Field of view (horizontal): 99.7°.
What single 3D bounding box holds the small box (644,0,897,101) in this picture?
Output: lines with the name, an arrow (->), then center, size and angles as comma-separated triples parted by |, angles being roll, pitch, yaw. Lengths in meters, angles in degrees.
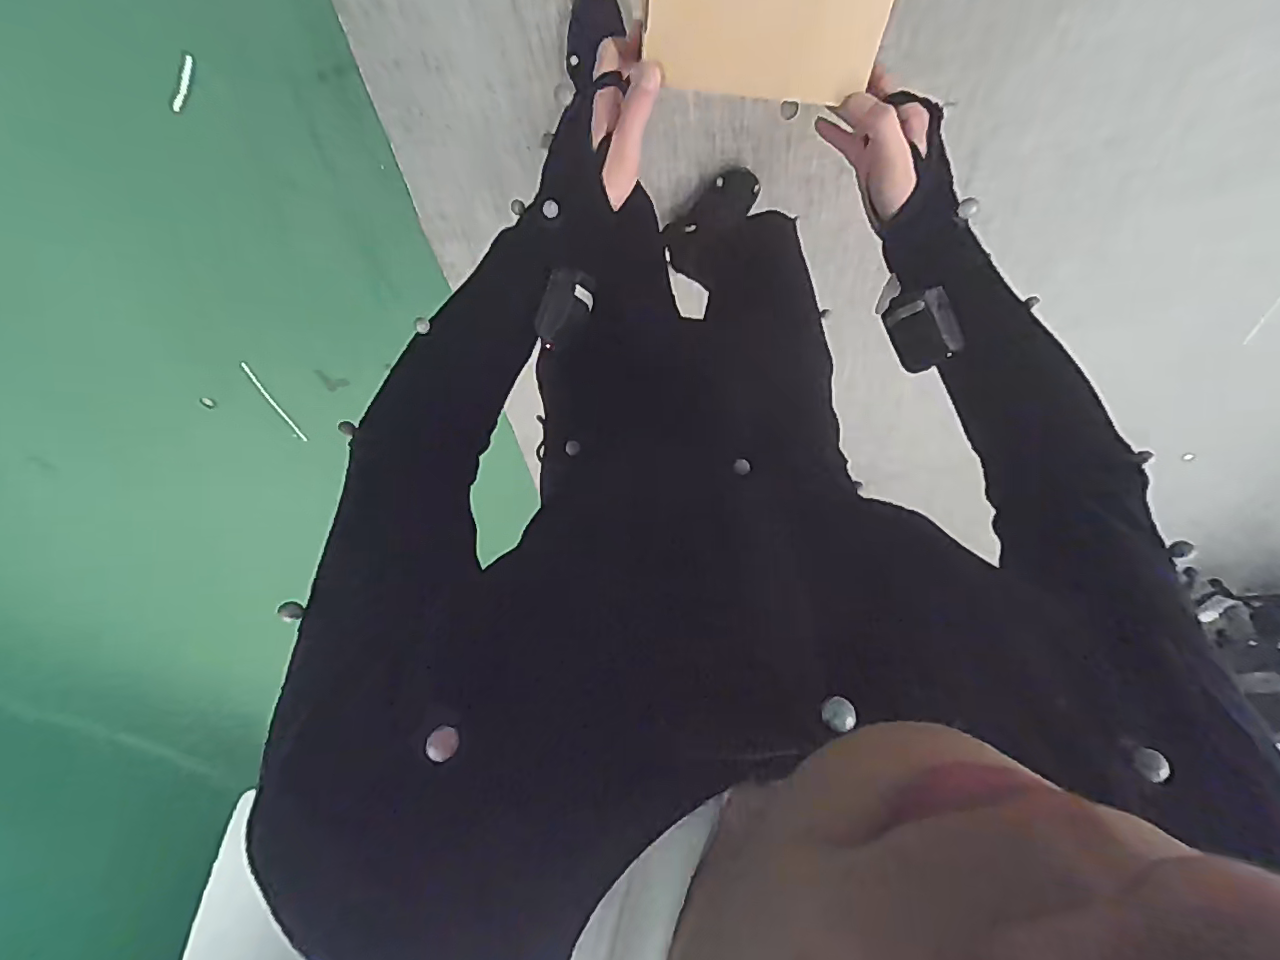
small box -> 0.098, -0.416, 0.414 | 0.179, 0.176, 0.168 | 4, 135, -4
